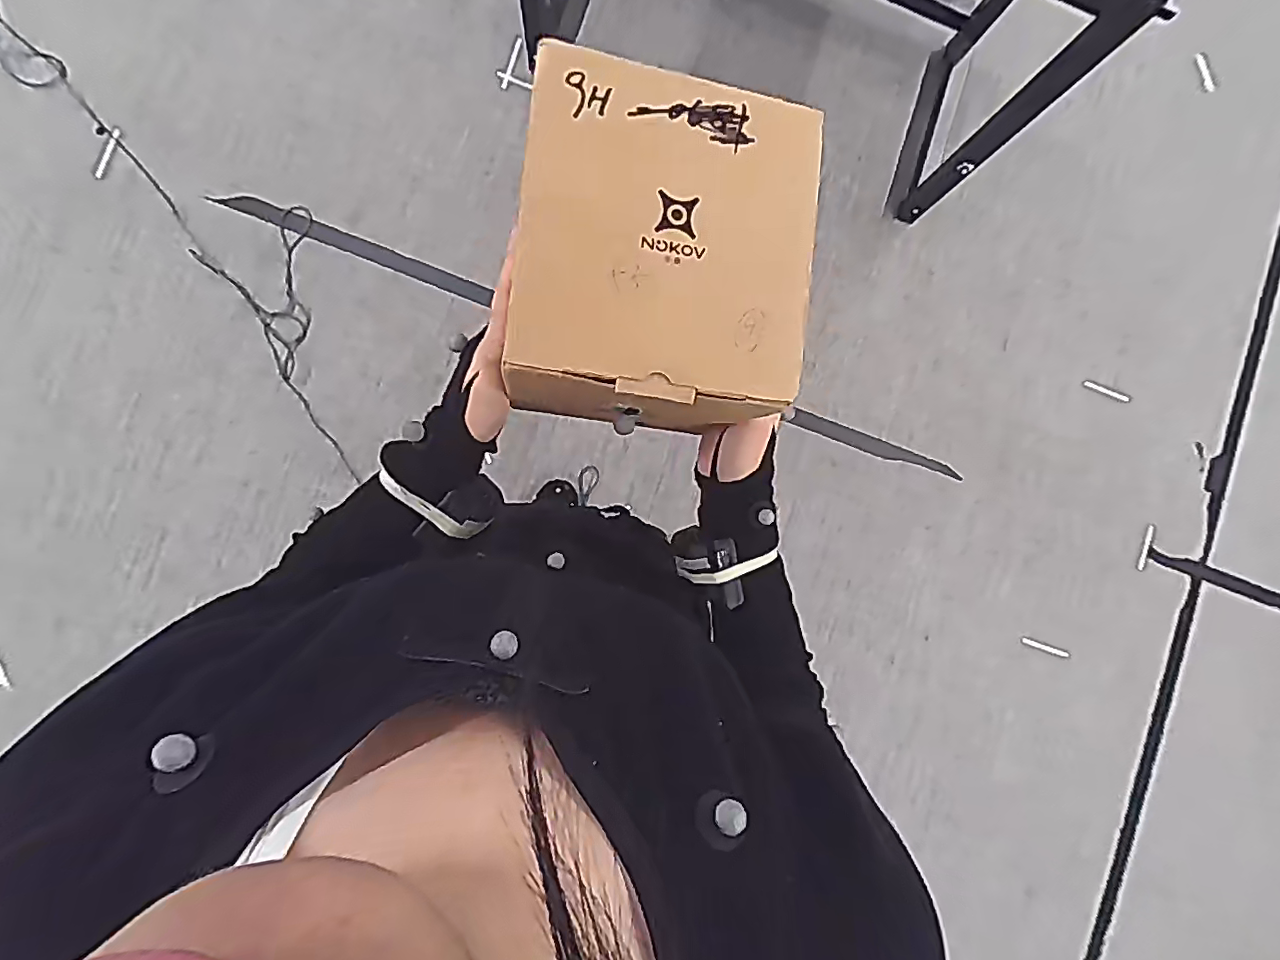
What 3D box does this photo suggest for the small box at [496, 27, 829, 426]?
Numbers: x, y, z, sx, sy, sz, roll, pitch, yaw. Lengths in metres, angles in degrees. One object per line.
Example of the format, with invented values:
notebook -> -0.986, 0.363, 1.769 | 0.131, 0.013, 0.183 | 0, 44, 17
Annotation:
small box -> 0.001, -0.135, 0.365 | 0.168, 0.176, 0.179 | 7, 89, -12

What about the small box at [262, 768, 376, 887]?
small box -> -0.771, 0.836, 1.319 | 0.168, 0.176, 0.179 | 14, 88, -5
